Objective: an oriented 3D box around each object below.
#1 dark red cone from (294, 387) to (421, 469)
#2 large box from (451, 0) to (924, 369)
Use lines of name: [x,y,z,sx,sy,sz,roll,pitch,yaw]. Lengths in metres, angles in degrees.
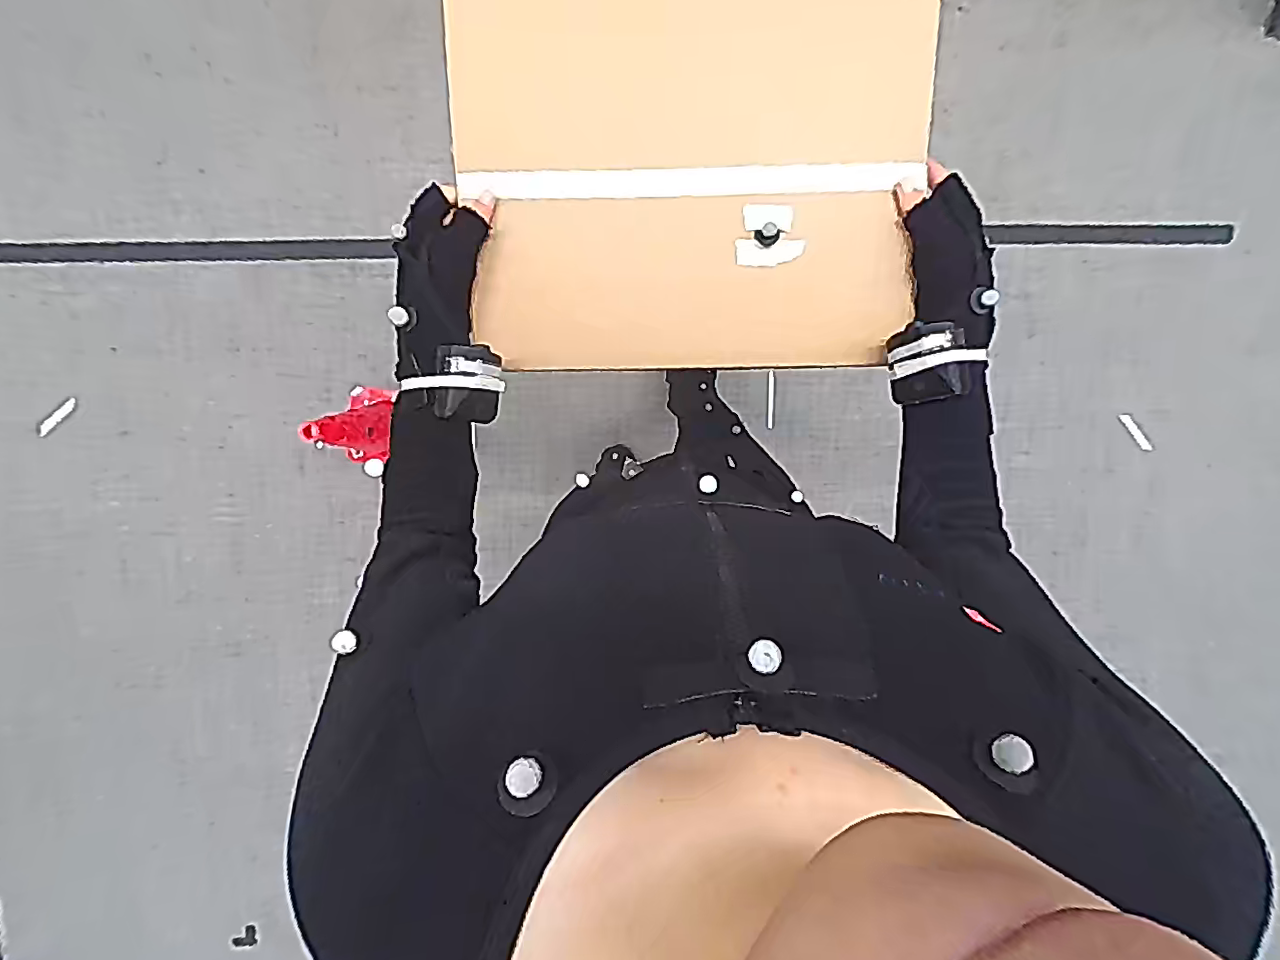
dark red cone: [-0.665,-0.118,1.242,0.201,0.394,0.202,5,97,-3]
large box: [0.041,-0.294,0.622,0.408,0.320,0.320,-1,102,-1]
